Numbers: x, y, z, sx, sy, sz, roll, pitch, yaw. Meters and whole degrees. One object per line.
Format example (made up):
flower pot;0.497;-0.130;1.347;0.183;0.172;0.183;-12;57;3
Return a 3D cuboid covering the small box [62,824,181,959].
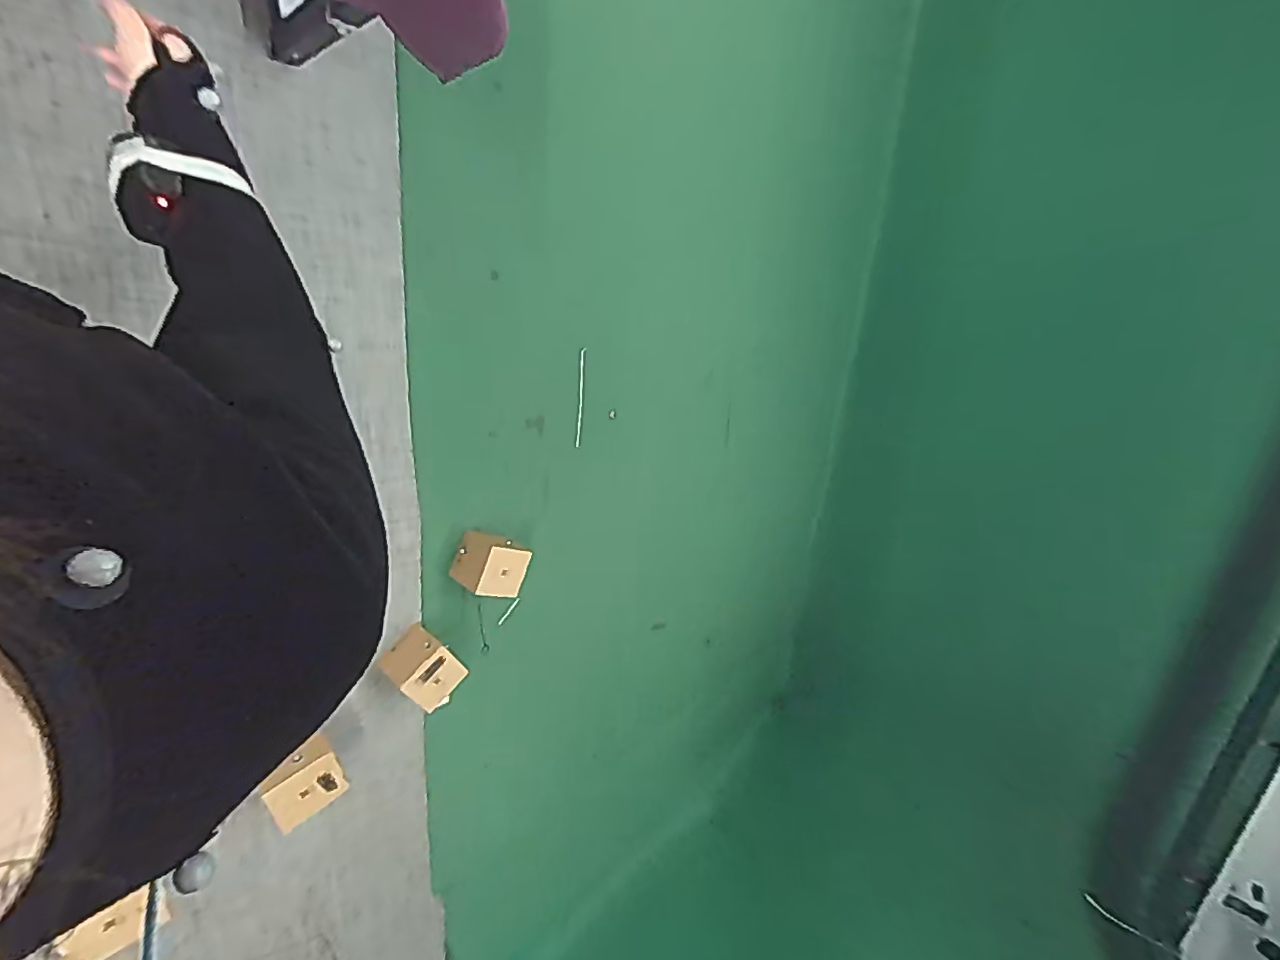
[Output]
small box;-1.208;0.961;1.260;0.179;0.176;0.168;-14;116;-46

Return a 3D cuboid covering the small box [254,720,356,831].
small box;-0.939;0.818;1.516;0.179;0.176;0.168;-28;125;-39

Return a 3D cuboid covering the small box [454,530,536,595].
small box;-0.491;0.277;1.824;0.179;0.176;0.168;21;88;-51
